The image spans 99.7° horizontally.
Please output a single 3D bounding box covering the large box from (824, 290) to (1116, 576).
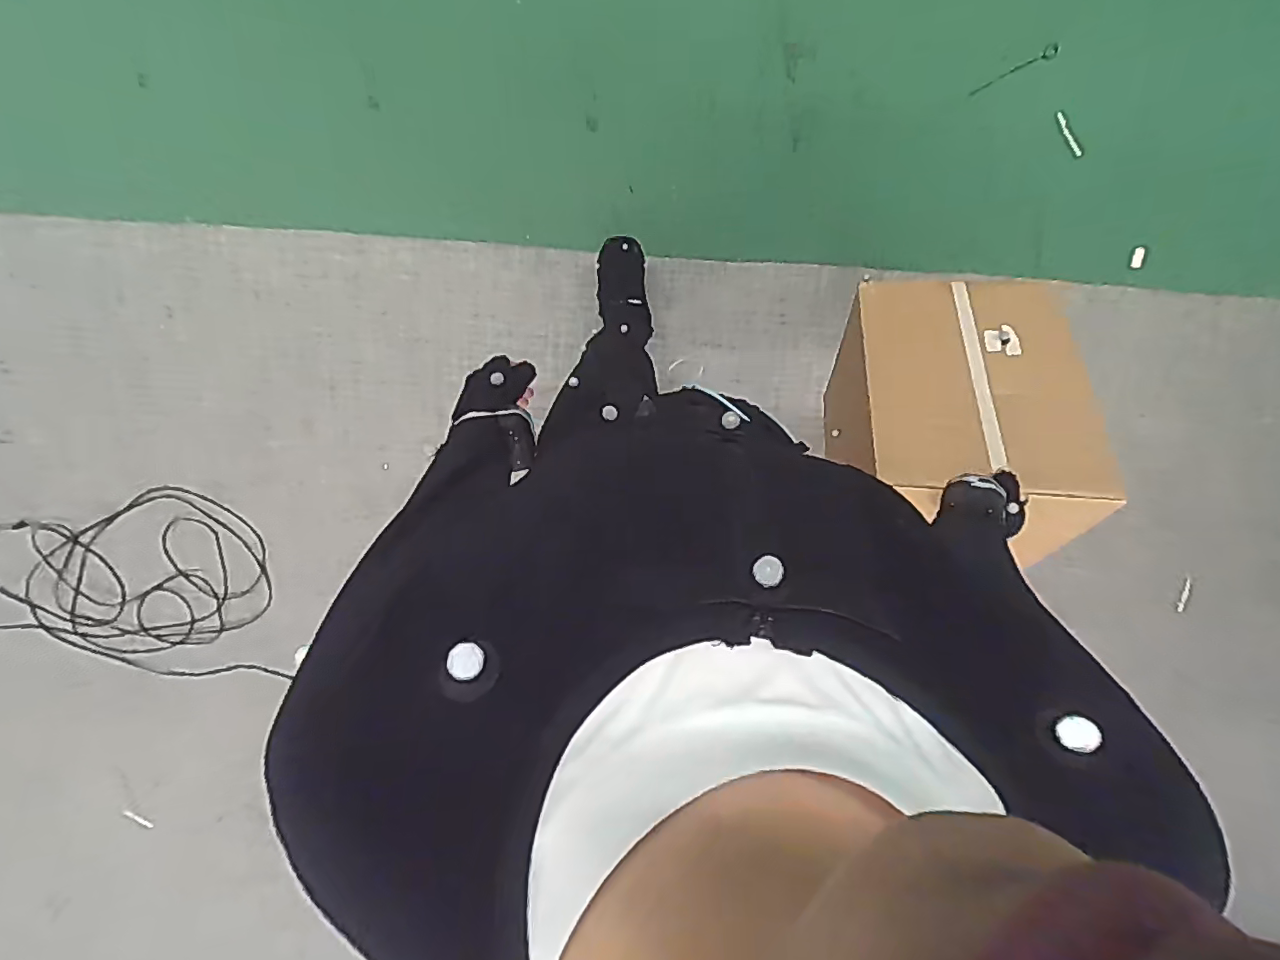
[{"bbox_3d":[0.517,-0.075,0.957,0.320,0.320,0.408,4,60,8],"label":"large box"}]
